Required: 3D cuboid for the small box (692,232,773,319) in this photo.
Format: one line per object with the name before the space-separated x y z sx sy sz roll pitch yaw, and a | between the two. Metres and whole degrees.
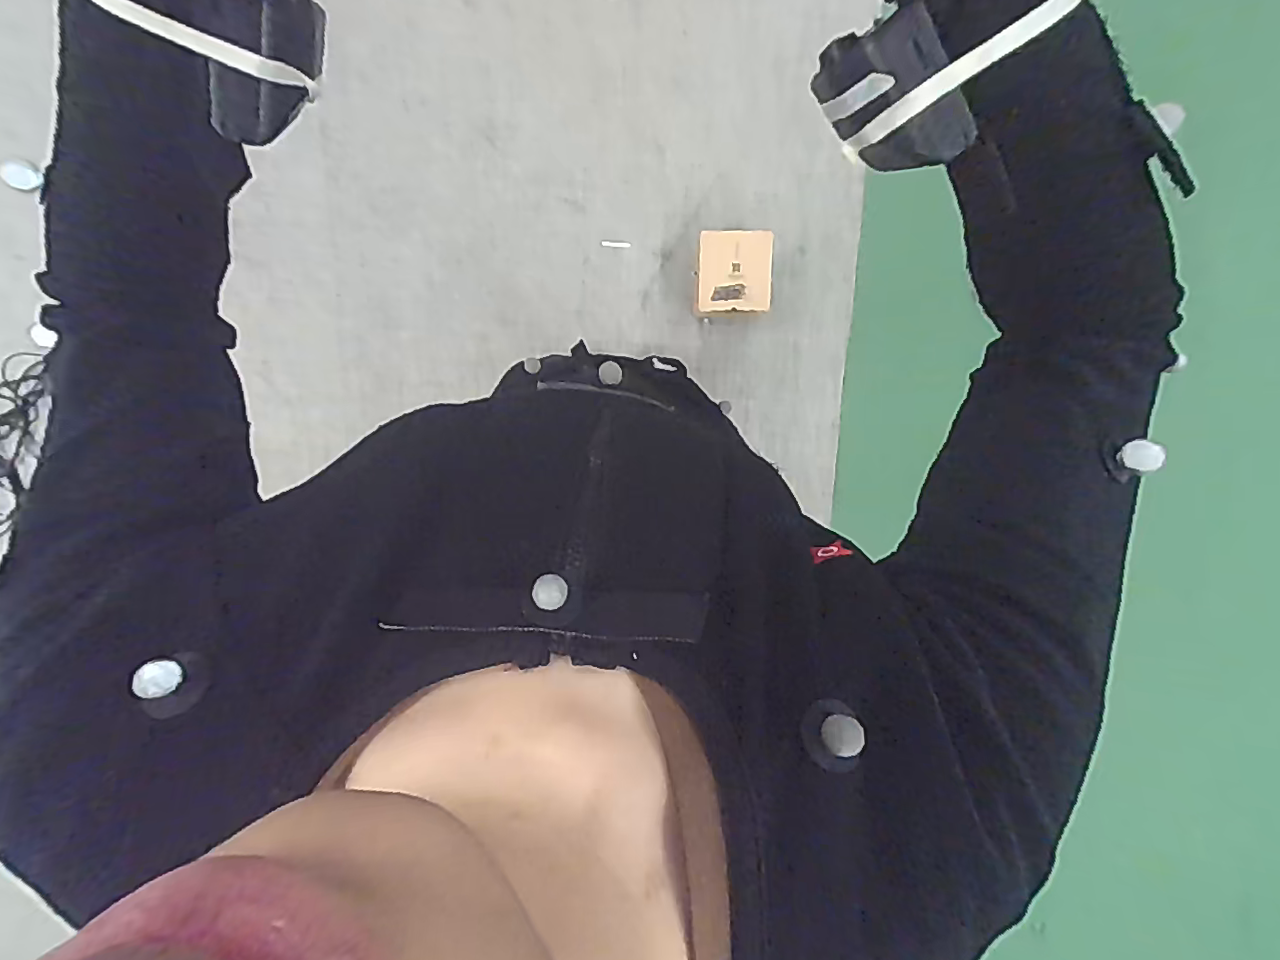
small box | 0.215 -0.482 1.295 0.168 0.176 0.179 0 101 0
